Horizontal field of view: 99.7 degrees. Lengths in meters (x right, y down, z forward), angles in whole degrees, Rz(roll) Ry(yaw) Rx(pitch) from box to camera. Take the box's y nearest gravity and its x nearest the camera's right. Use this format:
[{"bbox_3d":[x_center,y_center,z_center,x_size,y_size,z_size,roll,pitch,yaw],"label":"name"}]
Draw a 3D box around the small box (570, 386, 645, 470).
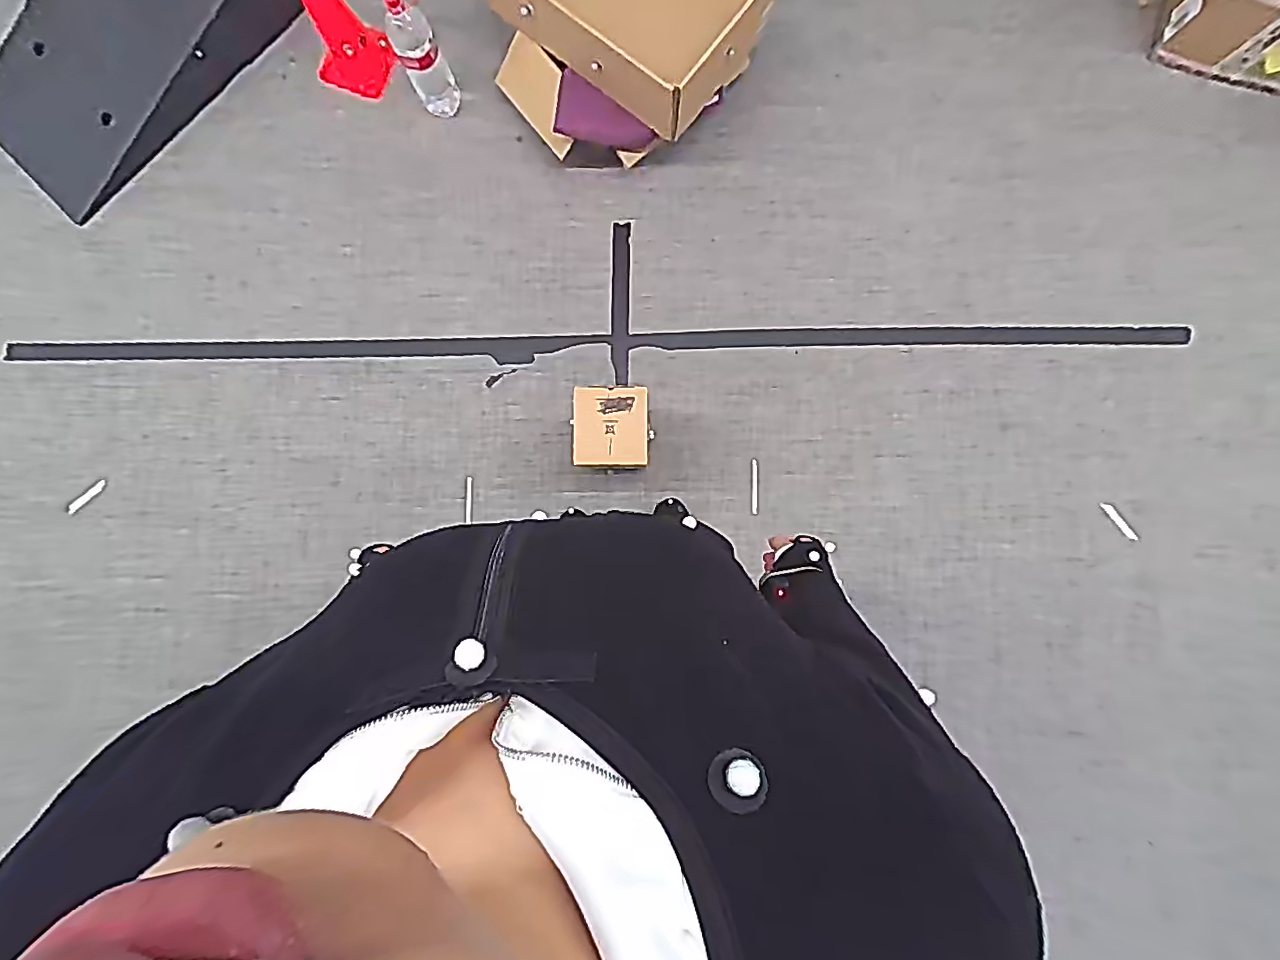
[{"bbox_3d":[-0.074,-0.116,1.271,0.168,0.176,0.179,1,89,0],"label":"small box"}]
